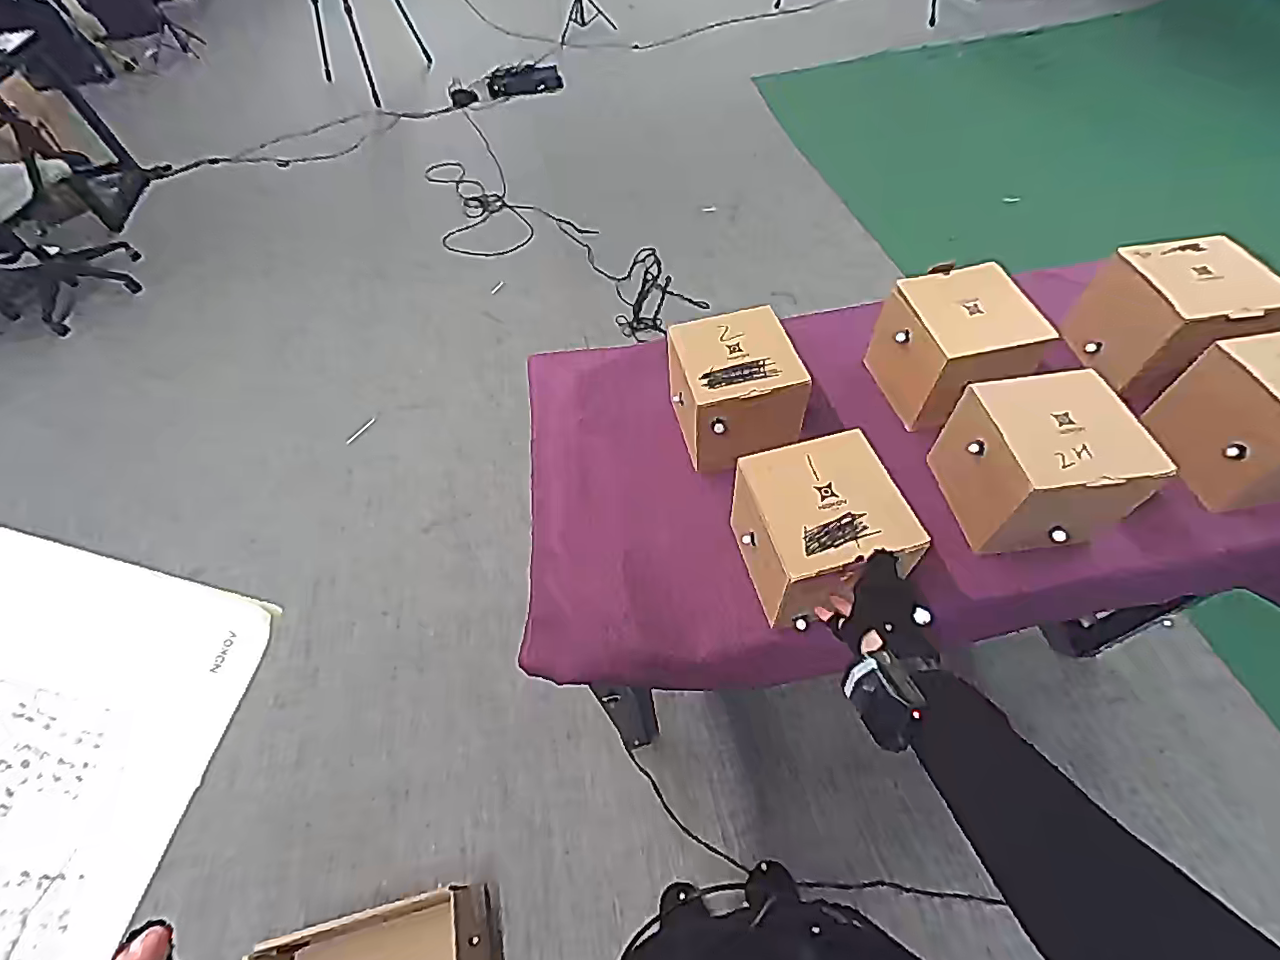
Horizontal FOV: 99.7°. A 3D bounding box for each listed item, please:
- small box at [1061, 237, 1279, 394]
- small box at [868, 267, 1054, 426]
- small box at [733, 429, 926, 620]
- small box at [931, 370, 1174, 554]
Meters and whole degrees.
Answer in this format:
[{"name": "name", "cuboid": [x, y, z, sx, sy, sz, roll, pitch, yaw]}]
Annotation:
[{"name": "small box", "cuboid": [0.831, -0.251, 0.858, 0.168, 0.176, 0.179, -6, 56, 2]}, {"name": "small box", "cuboid": [0.493, -0.204, 0.864, 0.168, 0.176, 0.179, -12, 55, -2]}, {"name": "small box", "cuboid": [0.227, 0.067, 0.702, 0.168, 0.176, 0.179, -13, 55, -4]}, {"name": "small box", "cuboid": [0.529, -0.021, 0.730, 0.168, 0.176, 0.179, -7, 55, 1]}]
